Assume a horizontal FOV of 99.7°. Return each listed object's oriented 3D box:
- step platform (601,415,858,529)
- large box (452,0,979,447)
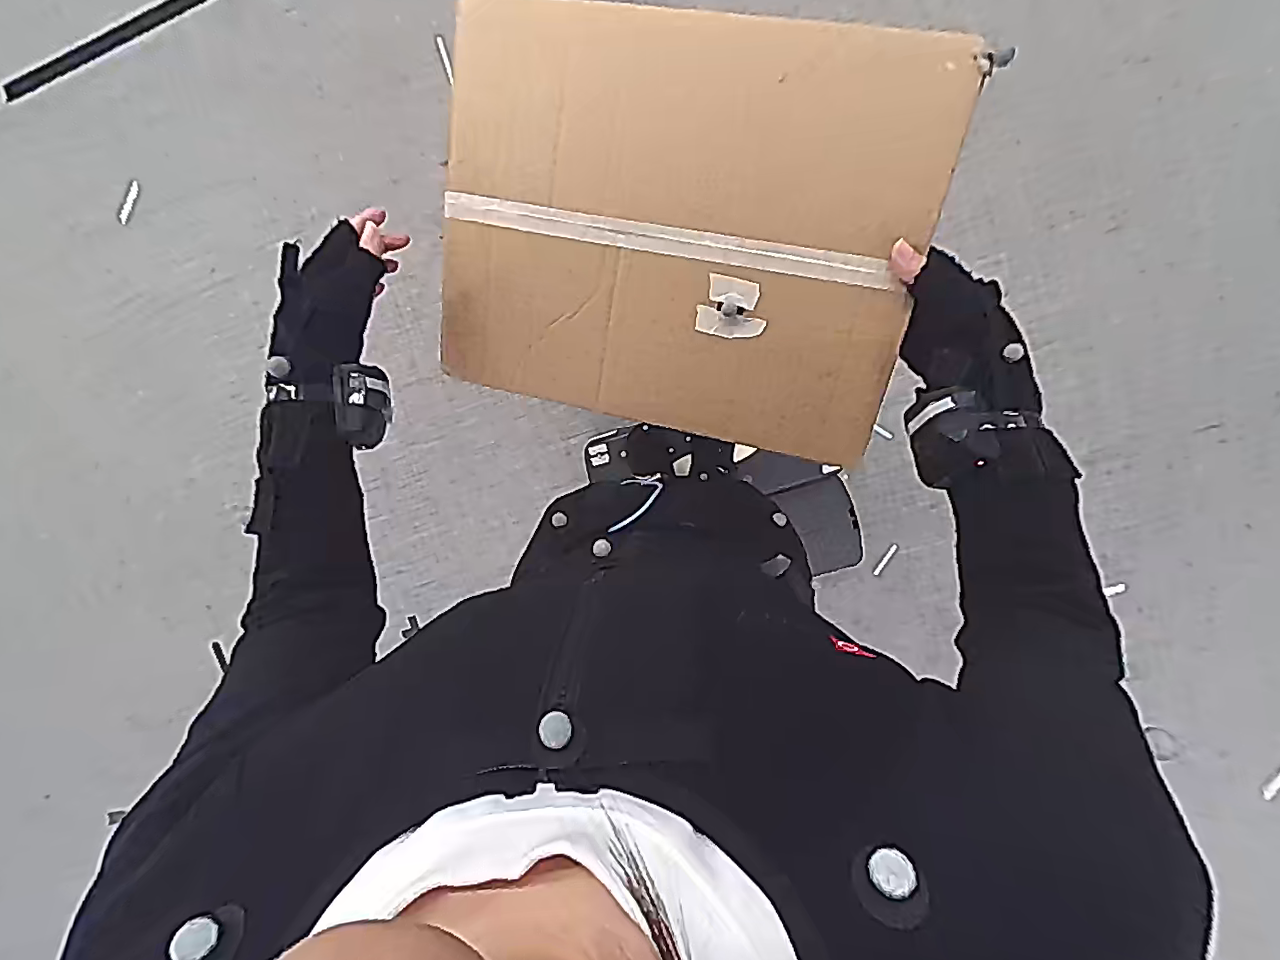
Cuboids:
[{"bbox_3d":[0.236,-0.091,1.503,0.684,0.204,0.286,-18,97,8],"label":"step platform"},{"bbox_3d":[0.056,-0.252,0.593,0.408,0.320,0.320,13,111,10],"label":"large box"}]
